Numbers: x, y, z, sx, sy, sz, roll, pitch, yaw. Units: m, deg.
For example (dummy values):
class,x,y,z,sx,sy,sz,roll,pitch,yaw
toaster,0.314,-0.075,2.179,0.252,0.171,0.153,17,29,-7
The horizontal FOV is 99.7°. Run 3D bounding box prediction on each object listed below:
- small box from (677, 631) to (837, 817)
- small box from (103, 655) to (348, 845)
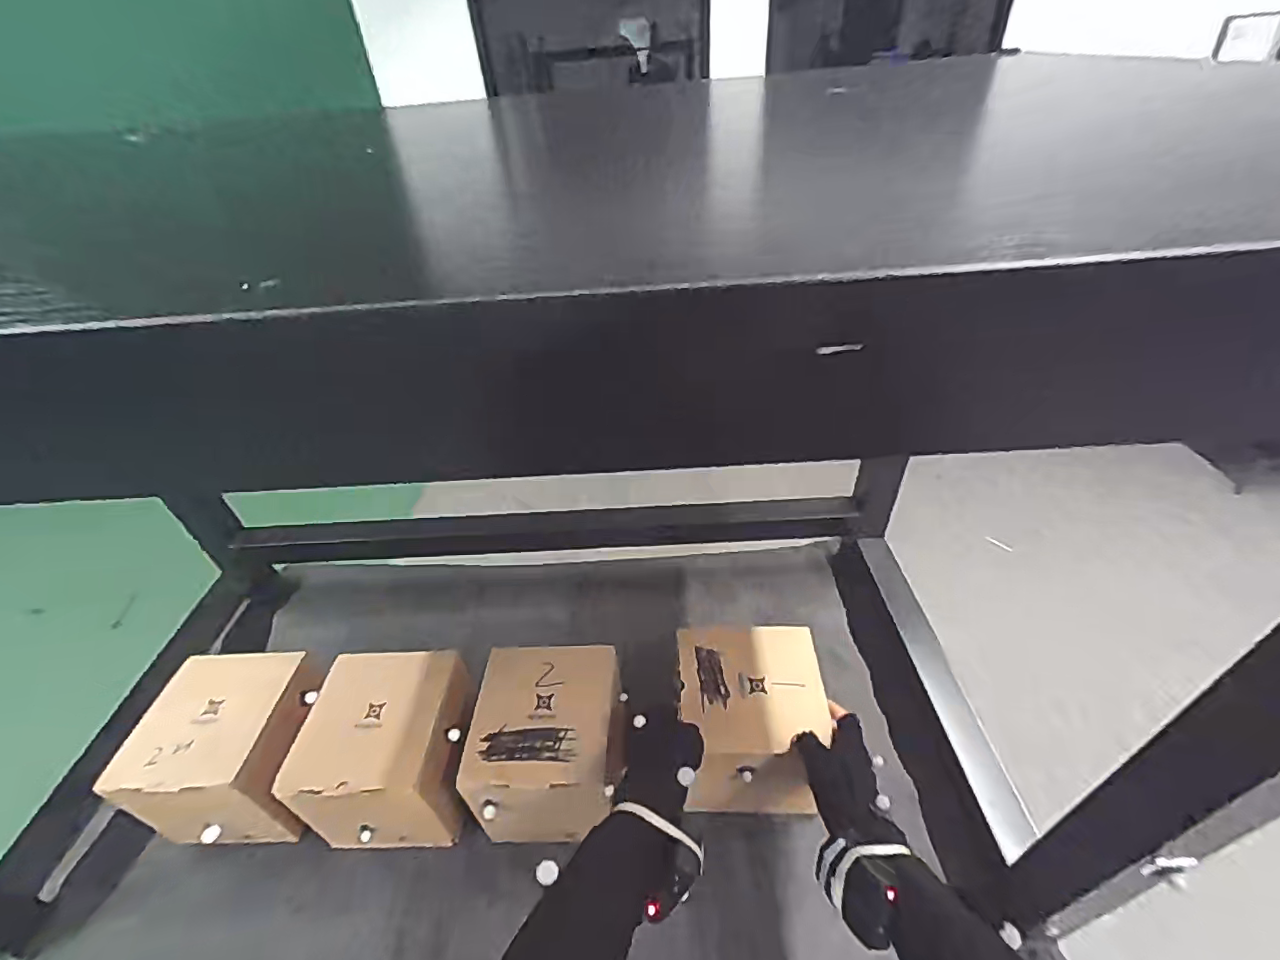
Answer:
class,x,y,z,sx,sy,sz,roll,pitch,yaw
small box,0.138,0.316,0.702,0.179,0.176,0.168,-1,39,4
small box,-0.523,0.357,0.722,0.168,0.176,0.179,-3,38,3
